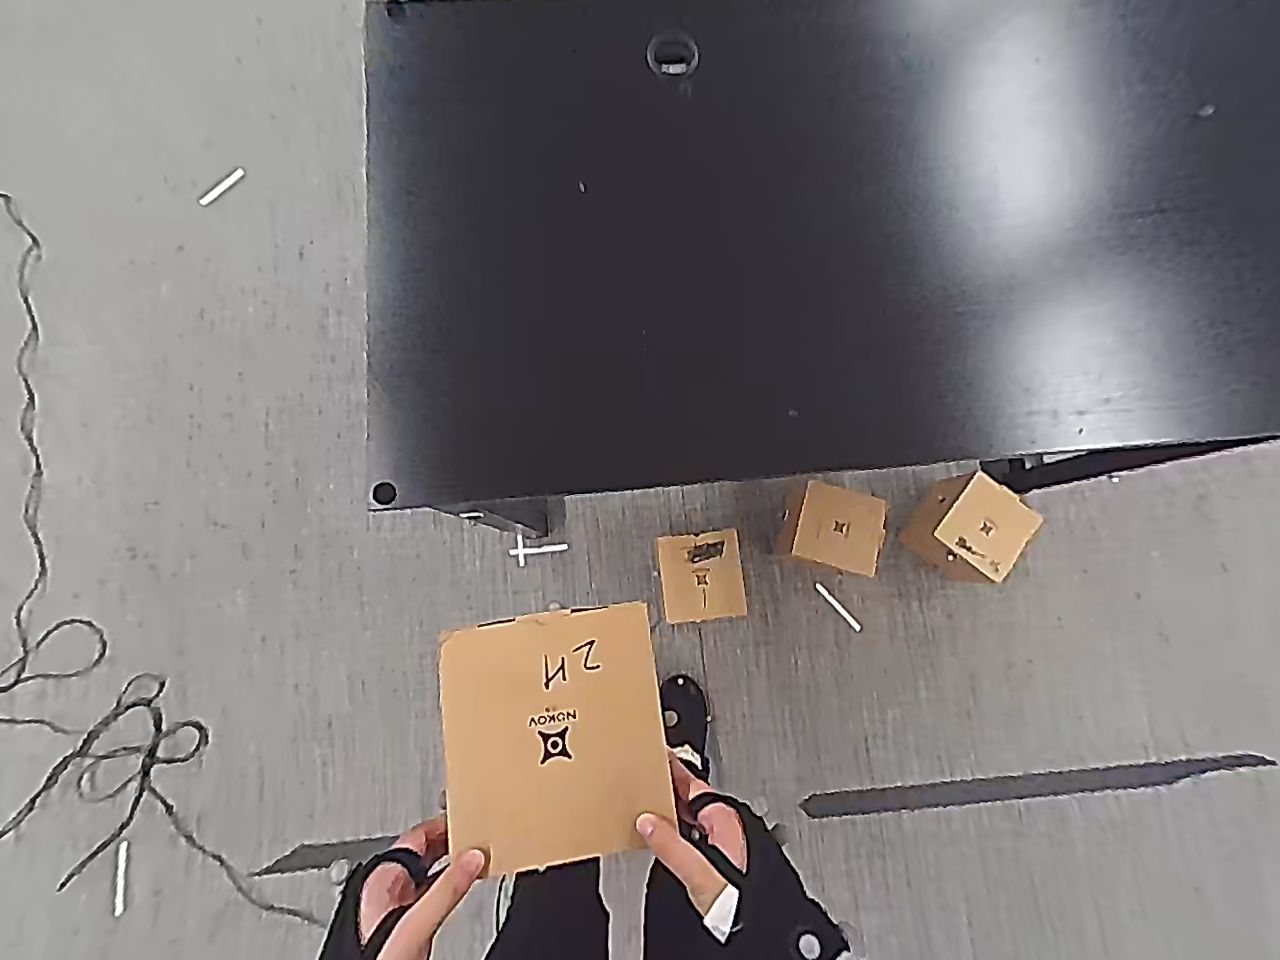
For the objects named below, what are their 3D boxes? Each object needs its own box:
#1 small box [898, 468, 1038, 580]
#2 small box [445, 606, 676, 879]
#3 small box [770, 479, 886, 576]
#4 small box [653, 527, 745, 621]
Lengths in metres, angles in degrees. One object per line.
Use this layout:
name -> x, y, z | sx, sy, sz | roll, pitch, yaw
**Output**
small box -> 0.709, 0.102, 1.191 | 0.168, 0.176, 0.179 | 37, 82, 6
small box -> -0.068, 0.214, 0.489 | 0.168, 0.176, 0.179 | -6, 75, -6
small box -> 0.406, 0.108, 1.189 | 0.179, 0.176, 0.168 | 15, 80, 3
small box -> 0.120, 0.201, 1.168 | 0.168, 0.176, 0.179 | -6, 82, -2
